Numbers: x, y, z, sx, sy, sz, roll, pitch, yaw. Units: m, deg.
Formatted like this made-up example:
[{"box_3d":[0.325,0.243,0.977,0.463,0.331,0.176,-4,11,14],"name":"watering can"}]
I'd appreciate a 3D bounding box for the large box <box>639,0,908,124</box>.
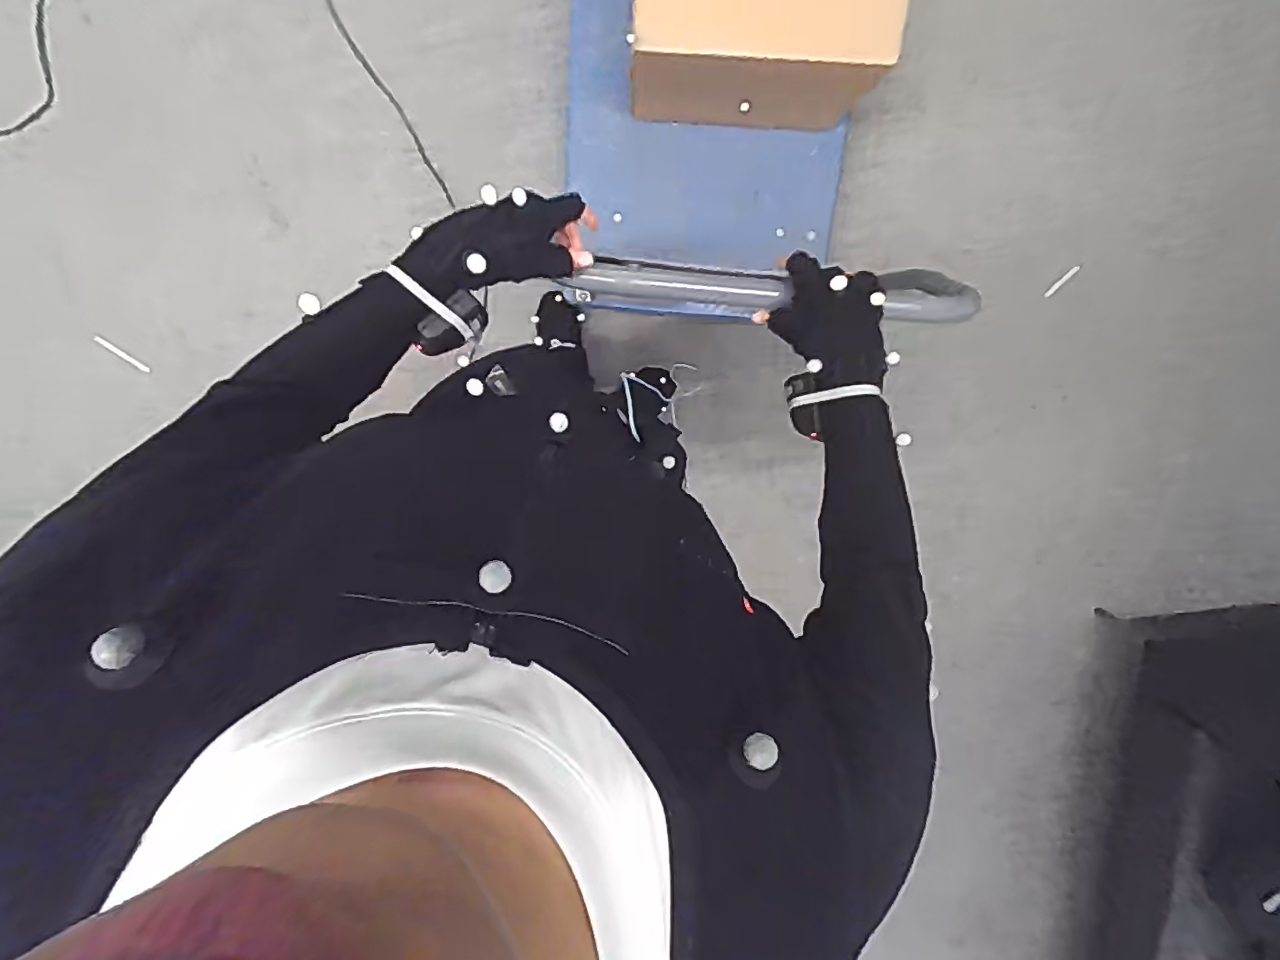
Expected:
[{"box_3d":[0.205,-0.836,0.924,0.408,0.320,0.320,2,106,-1],"name":"large box"}]
